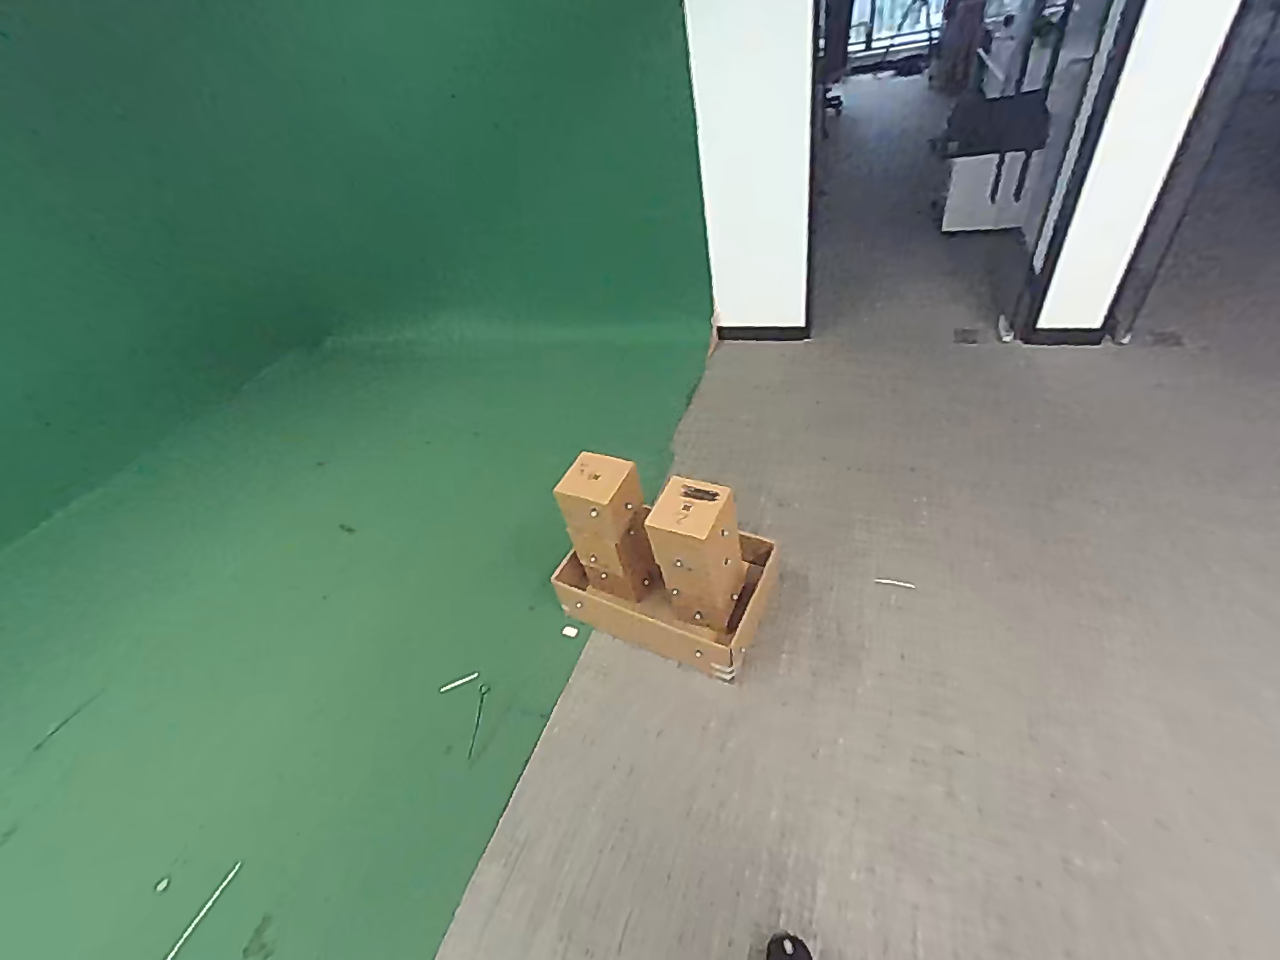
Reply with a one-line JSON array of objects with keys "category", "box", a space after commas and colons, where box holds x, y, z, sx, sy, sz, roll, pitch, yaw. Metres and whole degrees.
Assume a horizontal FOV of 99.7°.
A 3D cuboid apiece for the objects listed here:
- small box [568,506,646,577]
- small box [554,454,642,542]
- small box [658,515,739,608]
[{"category": "small box", "box": [-0.092, 0.165, 1.658, 0.168, 0.176, 0.179, 14, 51, 26]}, {"category": "small box", "box": [-0.111, 0.055, 1.536, 0.179, 0.176, 0.168, 13, 50, 25]}, {"category": "small box", "box": [0.171, 0.229, 1.514, 0.168, 0.176, 0.179, 12, 48, 27]}]
